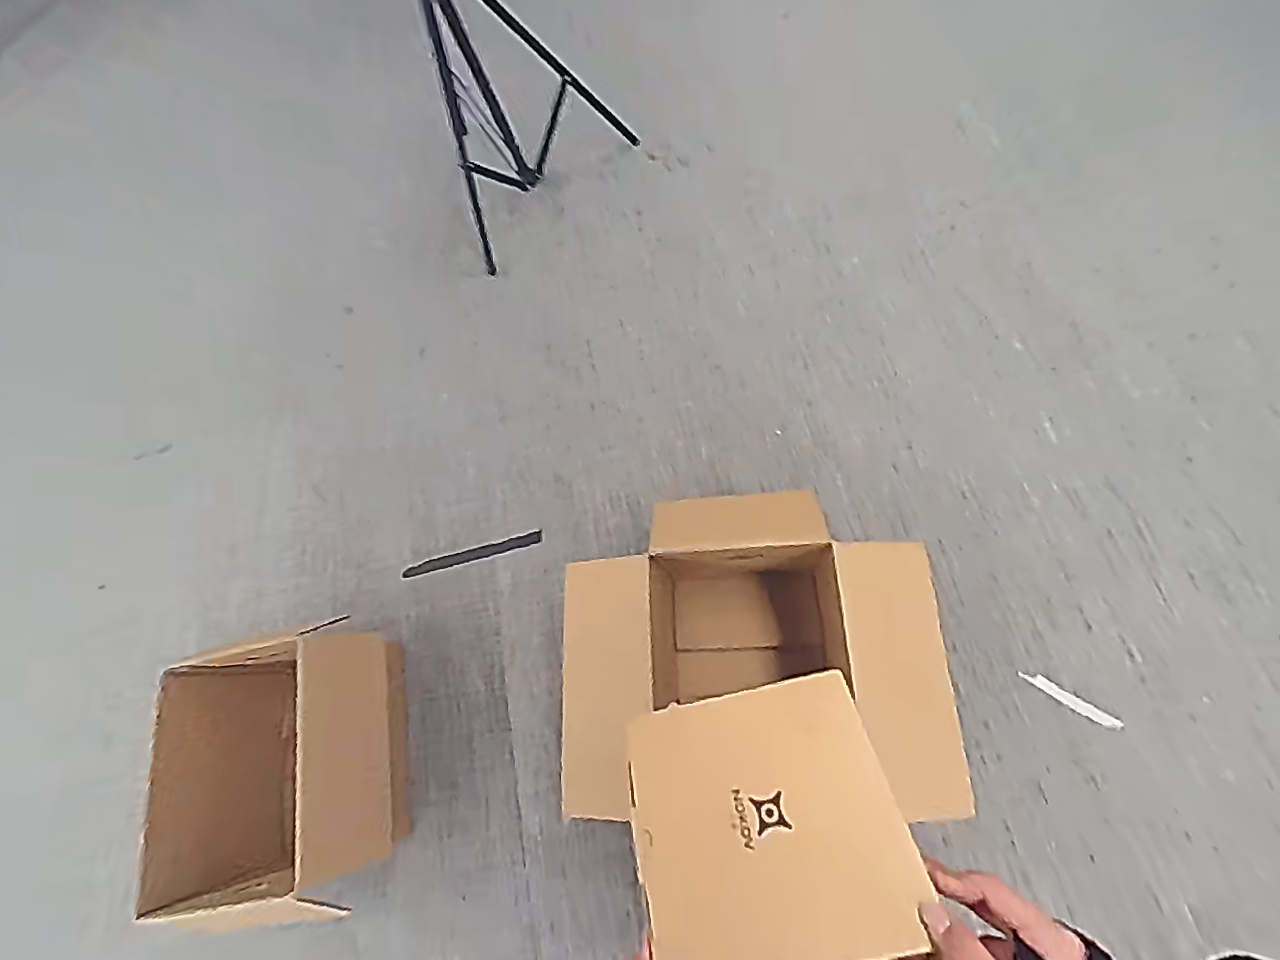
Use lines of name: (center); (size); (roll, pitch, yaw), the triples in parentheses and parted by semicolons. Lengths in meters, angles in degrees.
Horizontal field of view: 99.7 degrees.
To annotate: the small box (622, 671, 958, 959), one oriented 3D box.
small box: (0.097, 0.273, 0.413); (0.179, 0.176, 0.168); (-15, 46, 2)
